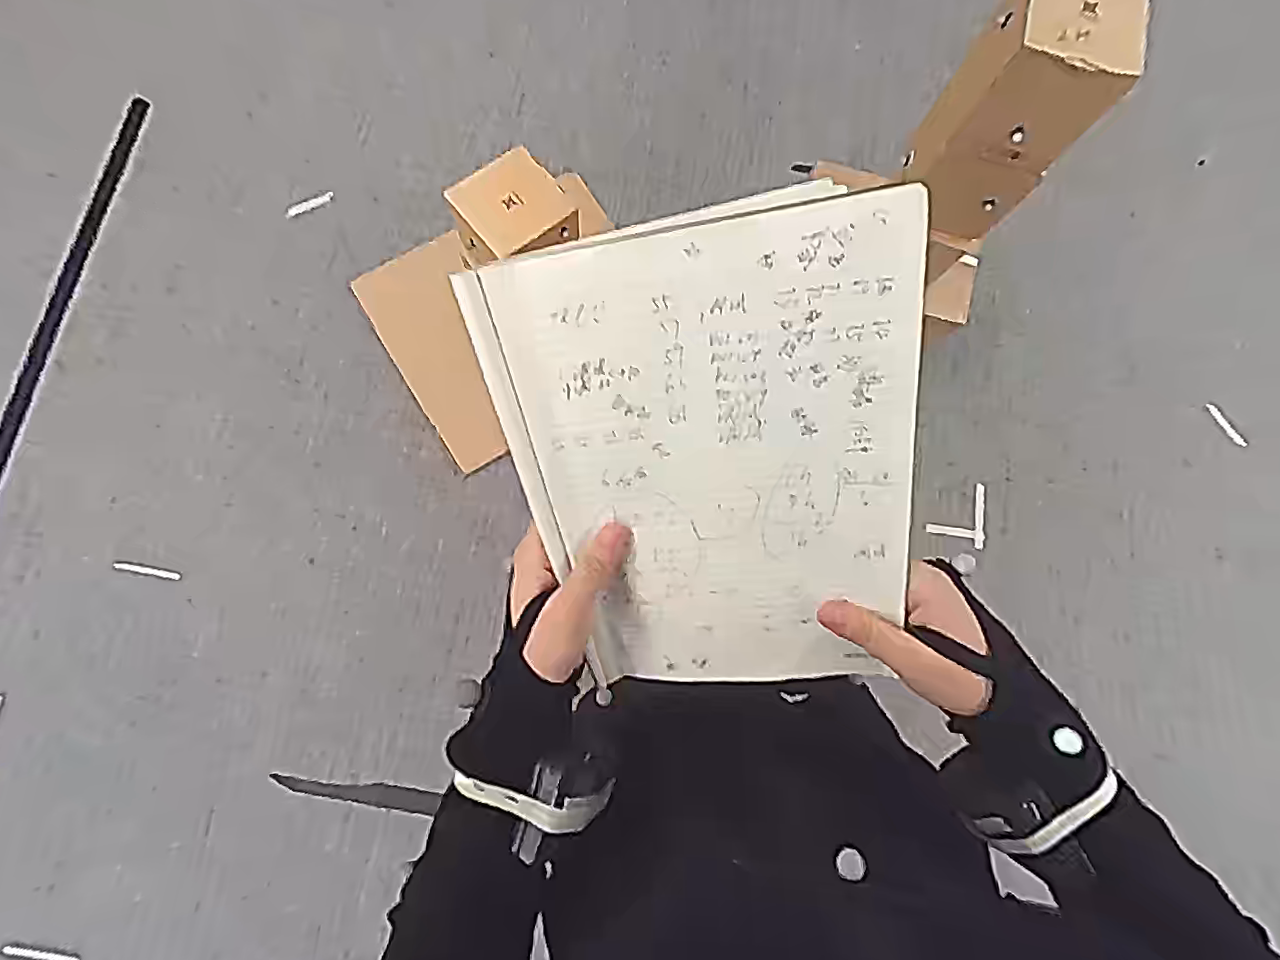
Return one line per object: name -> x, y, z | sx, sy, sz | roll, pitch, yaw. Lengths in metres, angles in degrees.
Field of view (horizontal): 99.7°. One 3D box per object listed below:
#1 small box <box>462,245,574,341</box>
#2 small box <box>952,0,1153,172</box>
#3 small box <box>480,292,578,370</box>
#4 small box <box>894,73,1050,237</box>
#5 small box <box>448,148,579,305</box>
small box -> -0.258, -0.437, 1.189 | 0.179, 0.176, 0.168 | -33, 84, -10
small box -> 0.594, -0.605, 0.798 | 0.168, 0.176, 0.179 | 16, 79, 0
small box -> -0.270, -0.407, 1.350 | 0.179, 0.176, 0.168 | -34, 84, -11
small box -> 0.584, -0.562, 0.957 | 0.179, 0.176, 0.168 | 13, 78, 0
small box -> -0.229, -0.472, 1.032 | 0.179, 0.176, 0.168 | -40, 85, -11
